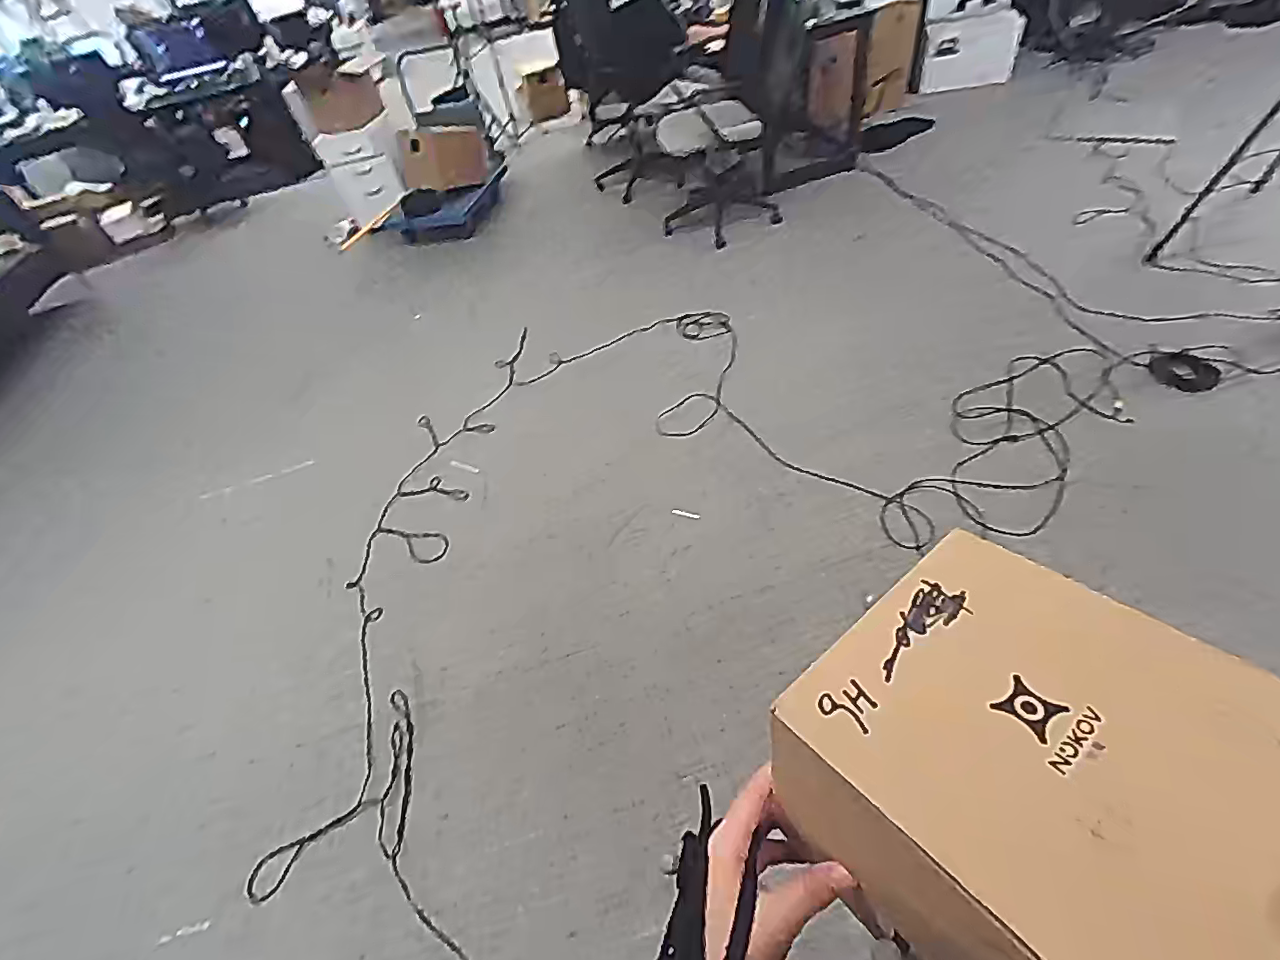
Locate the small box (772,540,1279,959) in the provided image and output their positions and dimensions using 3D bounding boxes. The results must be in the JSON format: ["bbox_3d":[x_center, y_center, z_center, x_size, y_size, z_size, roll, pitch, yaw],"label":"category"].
[{"bbox_3d":[0.192,0.173,0.286,0.168,0.176,0.179,-32,43,-21],"label":"small box"}]
